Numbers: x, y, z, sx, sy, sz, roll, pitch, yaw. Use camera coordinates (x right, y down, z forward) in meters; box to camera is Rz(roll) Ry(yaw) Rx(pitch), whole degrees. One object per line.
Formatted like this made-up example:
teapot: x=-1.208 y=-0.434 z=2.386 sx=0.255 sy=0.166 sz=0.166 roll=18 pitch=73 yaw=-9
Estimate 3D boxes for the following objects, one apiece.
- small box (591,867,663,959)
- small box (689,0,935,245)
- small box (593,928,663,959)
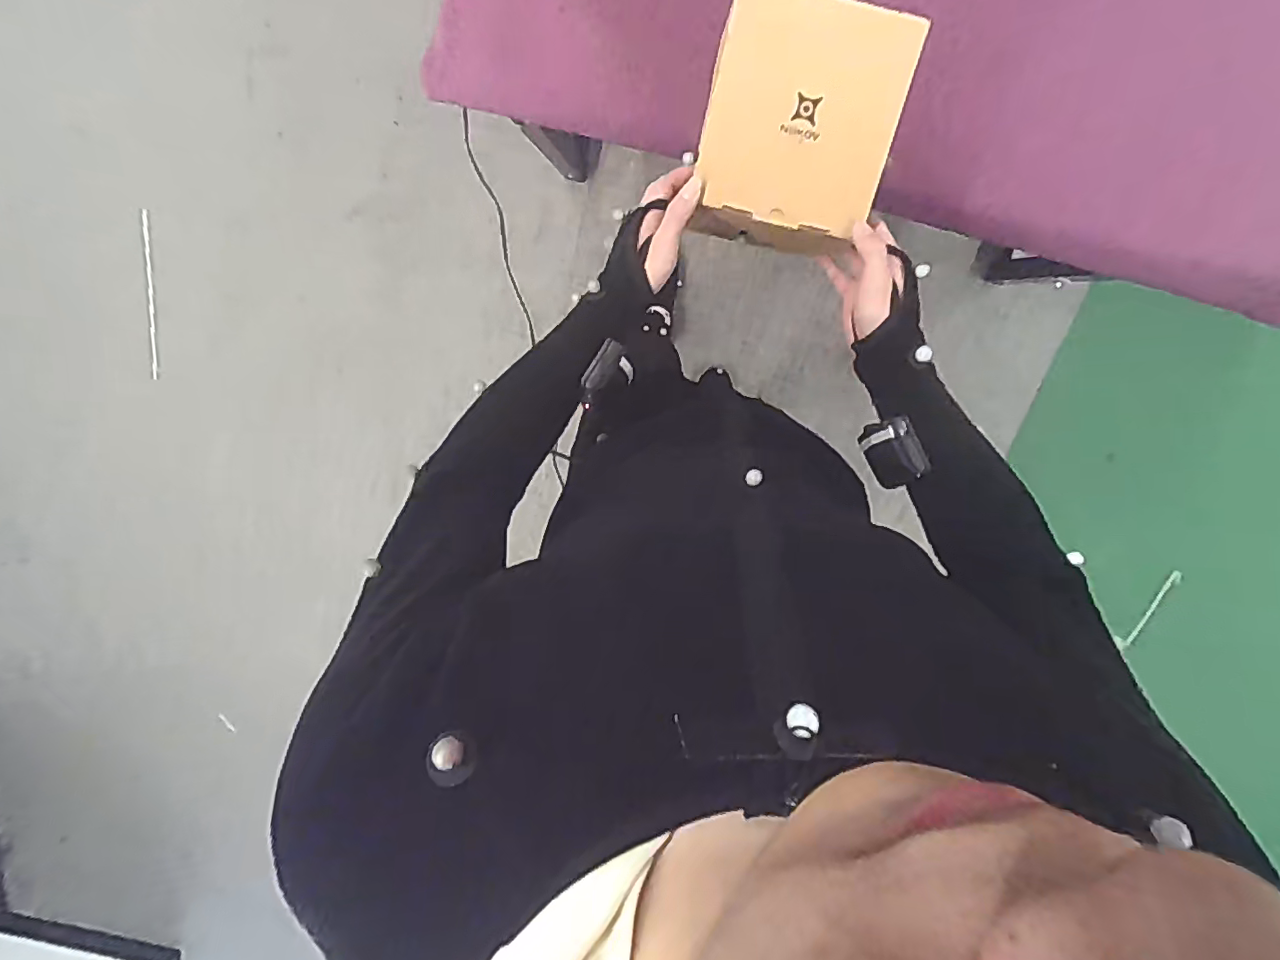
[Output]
small box: x=-0.031 y=1.279 z=1.568 sx=0.168 sy=0.176 sz=0.179 roll=17 pitch=109 yaw=-3
small box: x=0.151 y=-0.355 z=0.548 sx=0.168 sy=0.176 sz=0.179 roll=13 pitch=109 yaw=-3
small box: x=-0.040 y=1.332 z=1.413 sx=0.168 sy=0.176 sz=0.179 roll=18 pitch=109 yaw=-4
